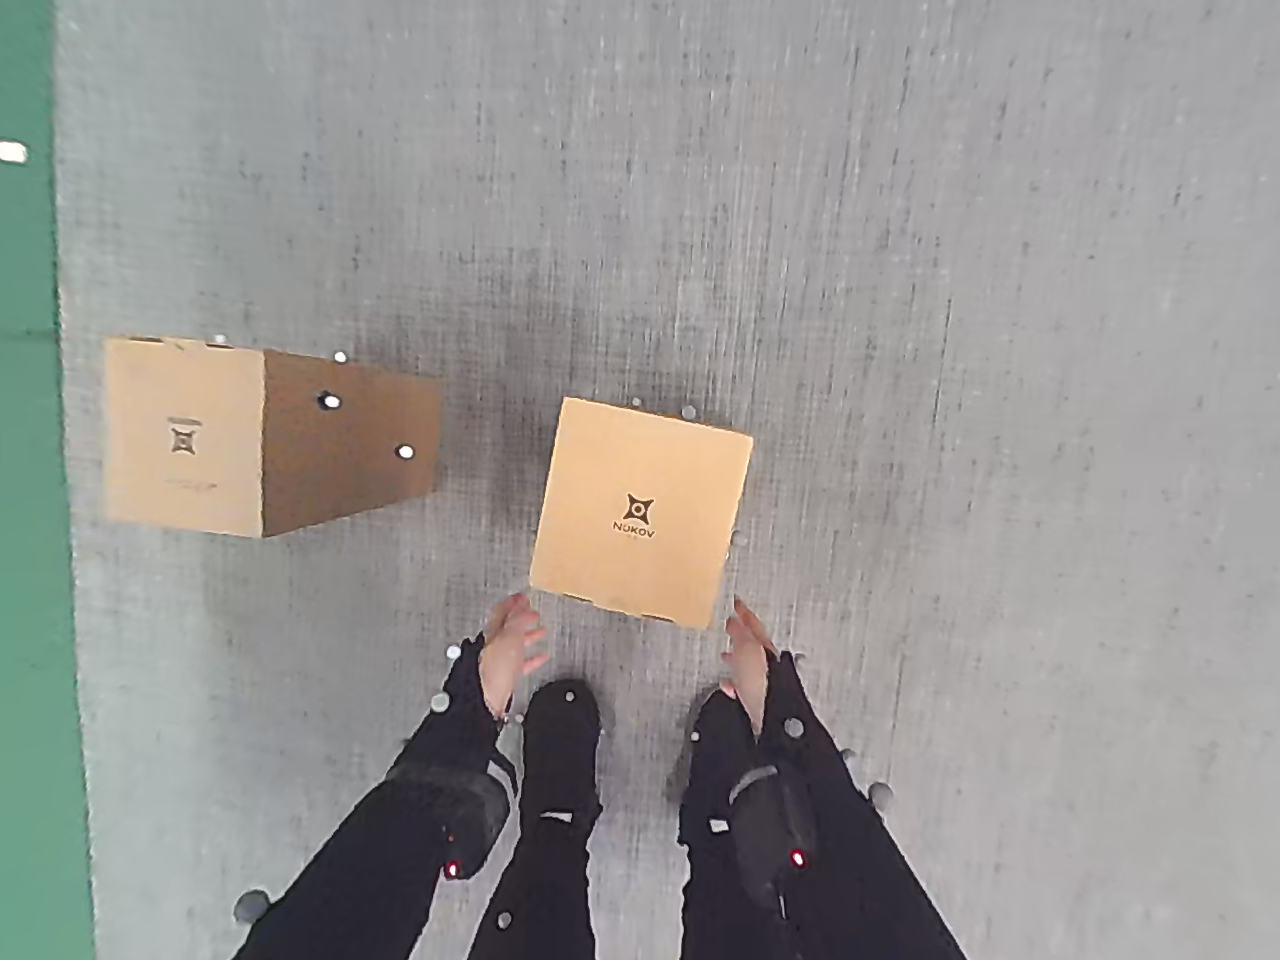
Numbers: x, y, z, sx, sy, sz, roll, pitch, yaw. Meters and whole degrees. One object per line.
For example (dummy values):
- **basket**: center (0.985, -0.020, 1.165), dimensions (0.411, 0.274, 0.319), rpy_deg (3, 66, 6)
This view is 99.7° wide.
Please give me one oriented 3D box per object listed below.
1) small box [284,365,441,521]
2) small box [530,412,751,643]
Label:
- **small box**: center (-0.392, -0.056, 0.744), dimensions (0.168, 0.176, 0.179), rpy_deg (9, 98, 5)
- **small box**: center (0.005, 0.033, 0.546), dimensions (0.168, 0.176, 0.179), rpy_deg (12, 98, 5)
